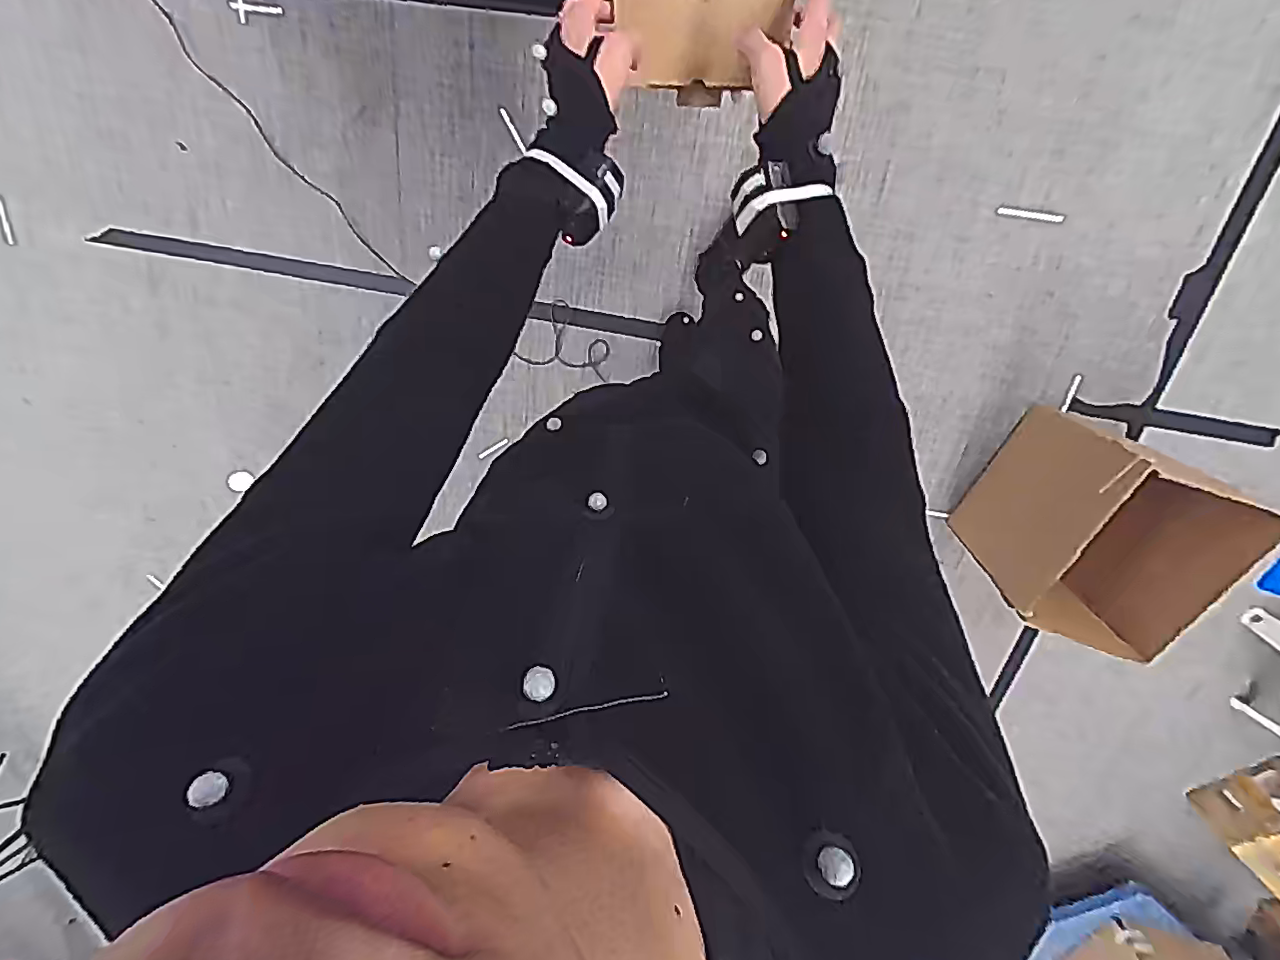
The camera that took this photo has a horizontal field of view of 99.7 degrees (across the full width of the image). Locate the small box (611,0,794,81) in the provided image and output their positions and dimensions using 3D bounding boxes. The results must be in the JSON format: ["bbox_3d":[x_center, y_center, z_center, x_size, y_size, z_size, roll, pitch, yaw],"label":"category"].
[{"bbox_3d":[0.068,-0.499,0.516,0.168,0.176,0.179,6,131,7],"label":"small box"}]
